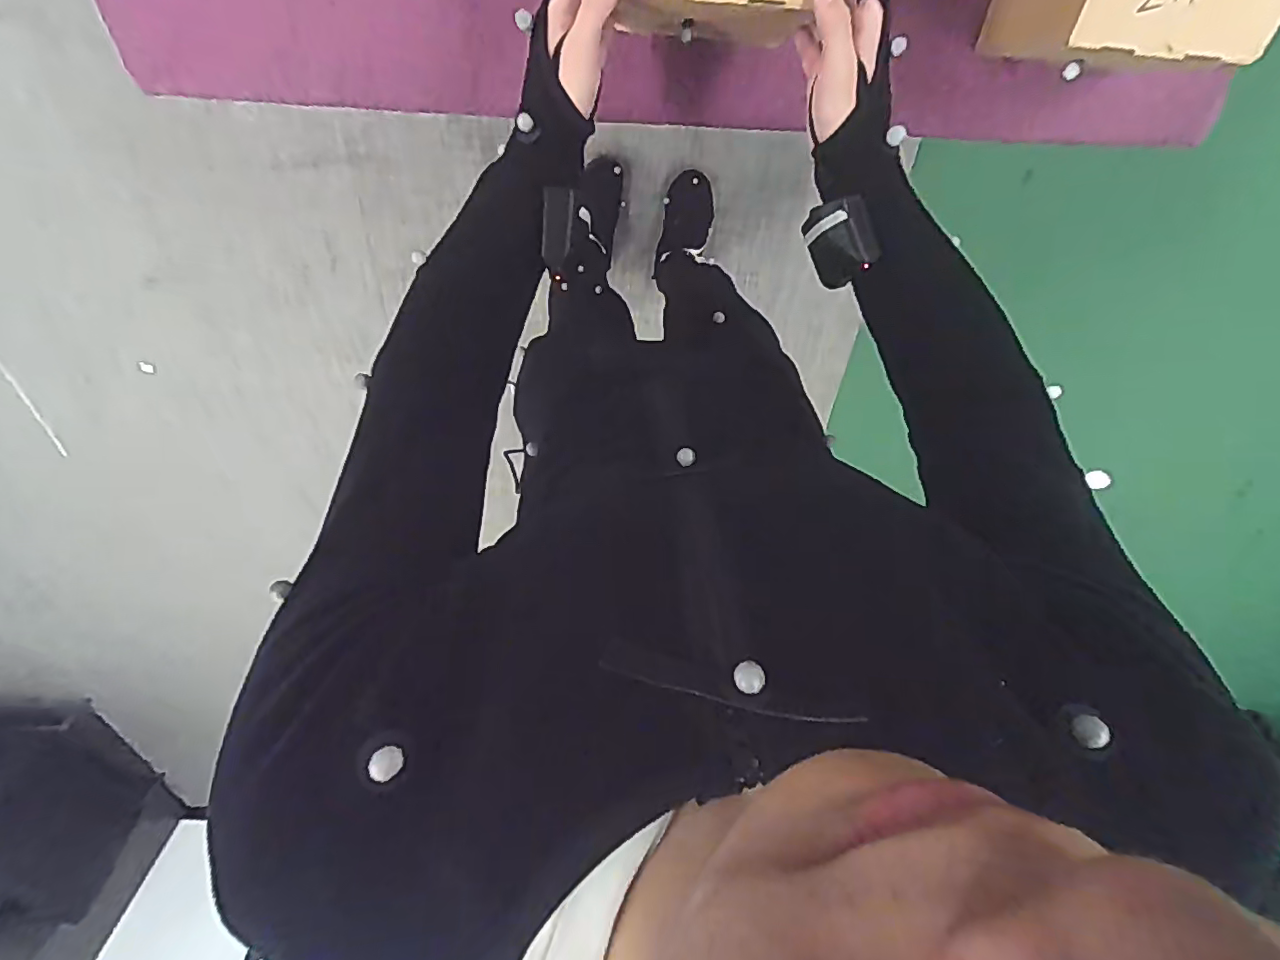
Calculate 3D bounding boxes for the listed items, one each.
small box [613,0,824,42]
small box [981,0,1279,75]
[{"bbox_3d":[0.061,-0.471,0.420,0.168,0.176,0.179,3,123,-3],"label":"small box"},{"bbox_3d":[0.441,-0.470,0.469,0.168,0.176,0.179,5,127,-1],"label":"small box"}]
